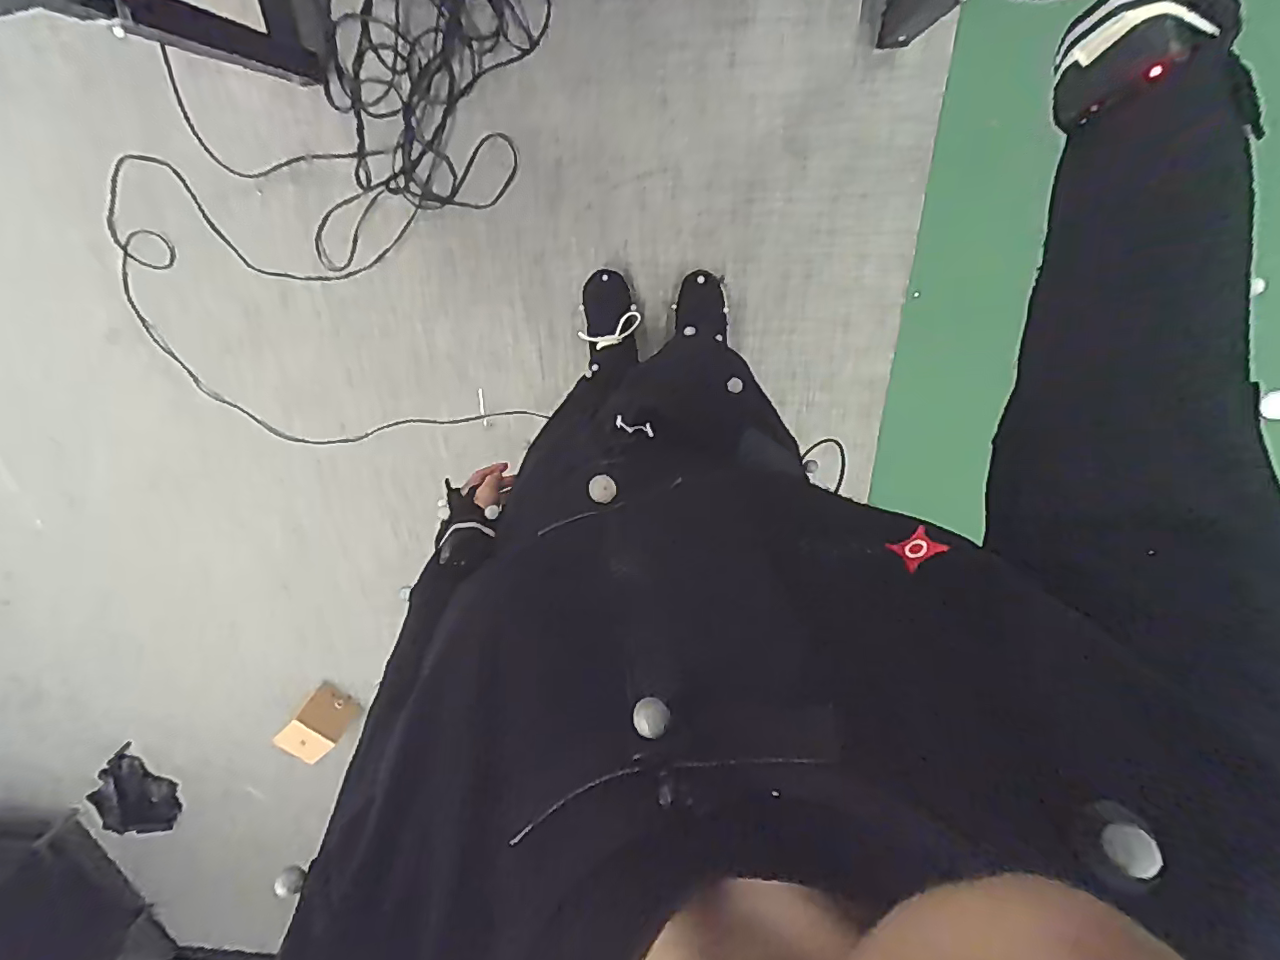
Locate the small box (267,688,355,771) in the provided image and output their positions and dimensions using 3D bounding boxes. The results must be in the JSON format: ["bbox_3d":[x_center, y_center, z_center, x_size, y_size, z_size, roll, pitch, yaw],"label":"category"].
[{"bbox_3d":[-1.140,0.868,1.888,0.179,0.176,0.168,-41,107,21],"label":"small box"}]
